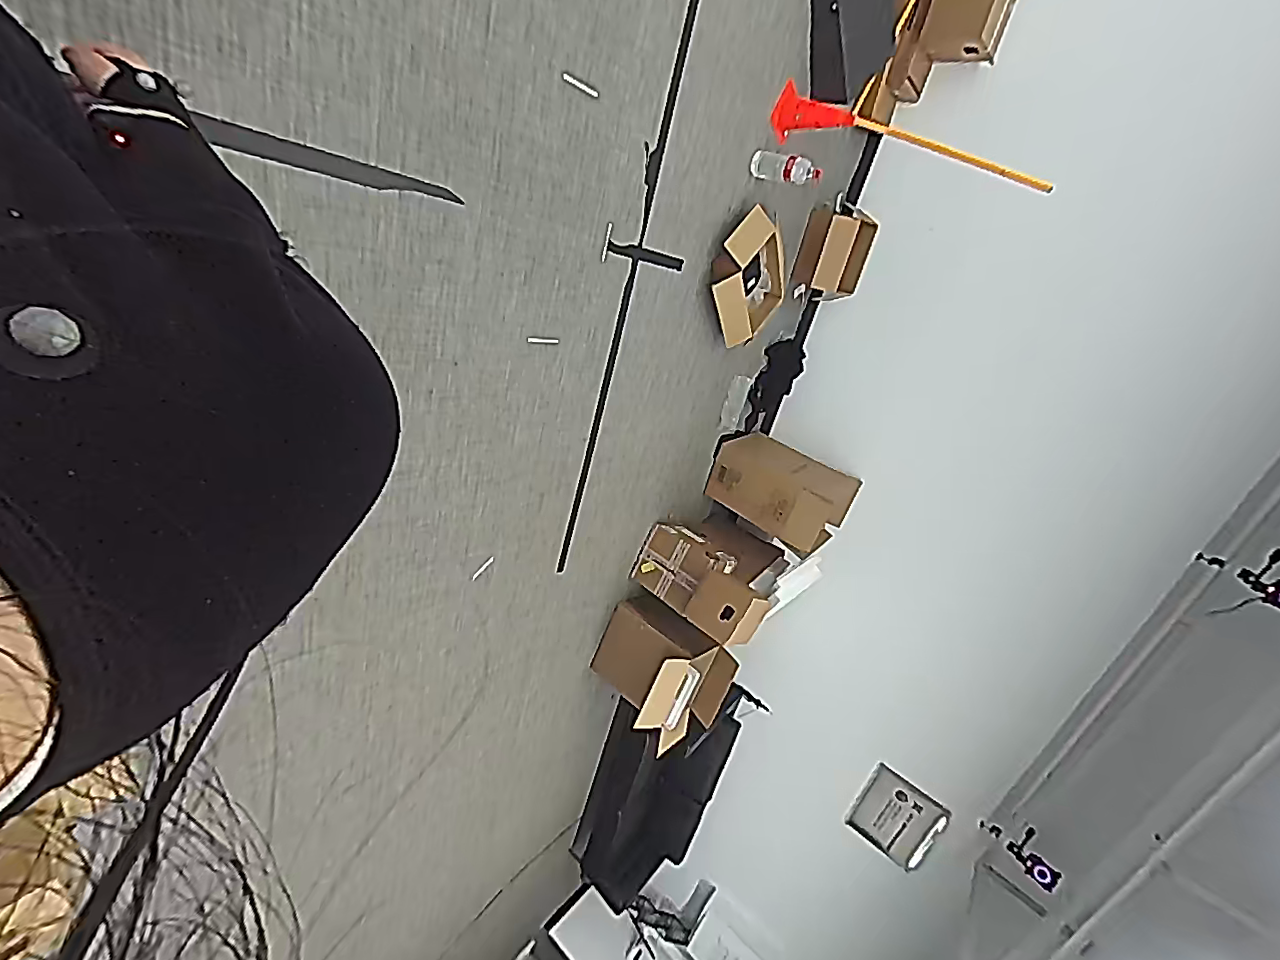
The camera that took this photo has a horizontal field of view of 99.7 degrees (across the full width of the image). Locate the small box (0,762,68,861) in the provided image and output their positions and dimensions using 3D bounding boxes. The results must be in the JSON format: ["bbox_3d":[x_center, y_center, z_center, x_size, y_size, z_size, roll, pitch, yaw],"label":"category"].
[{"bbox_3d":[-1.345,0.738,1.127,0.168,0.176,0.179,-22,134,-47],"label":"small box"}]

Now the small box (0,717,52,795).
[{"bbox_3d":[-1.467,0.664,1.206,0.168,0.176,0.179,-20,132,-48],"label":"small box"}]

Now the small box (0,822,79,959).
[{"bbox_3d":[-1.227,0.811,1.037,0.168,0.176,0.179,-21,132,-47],"label":"small box"}]
